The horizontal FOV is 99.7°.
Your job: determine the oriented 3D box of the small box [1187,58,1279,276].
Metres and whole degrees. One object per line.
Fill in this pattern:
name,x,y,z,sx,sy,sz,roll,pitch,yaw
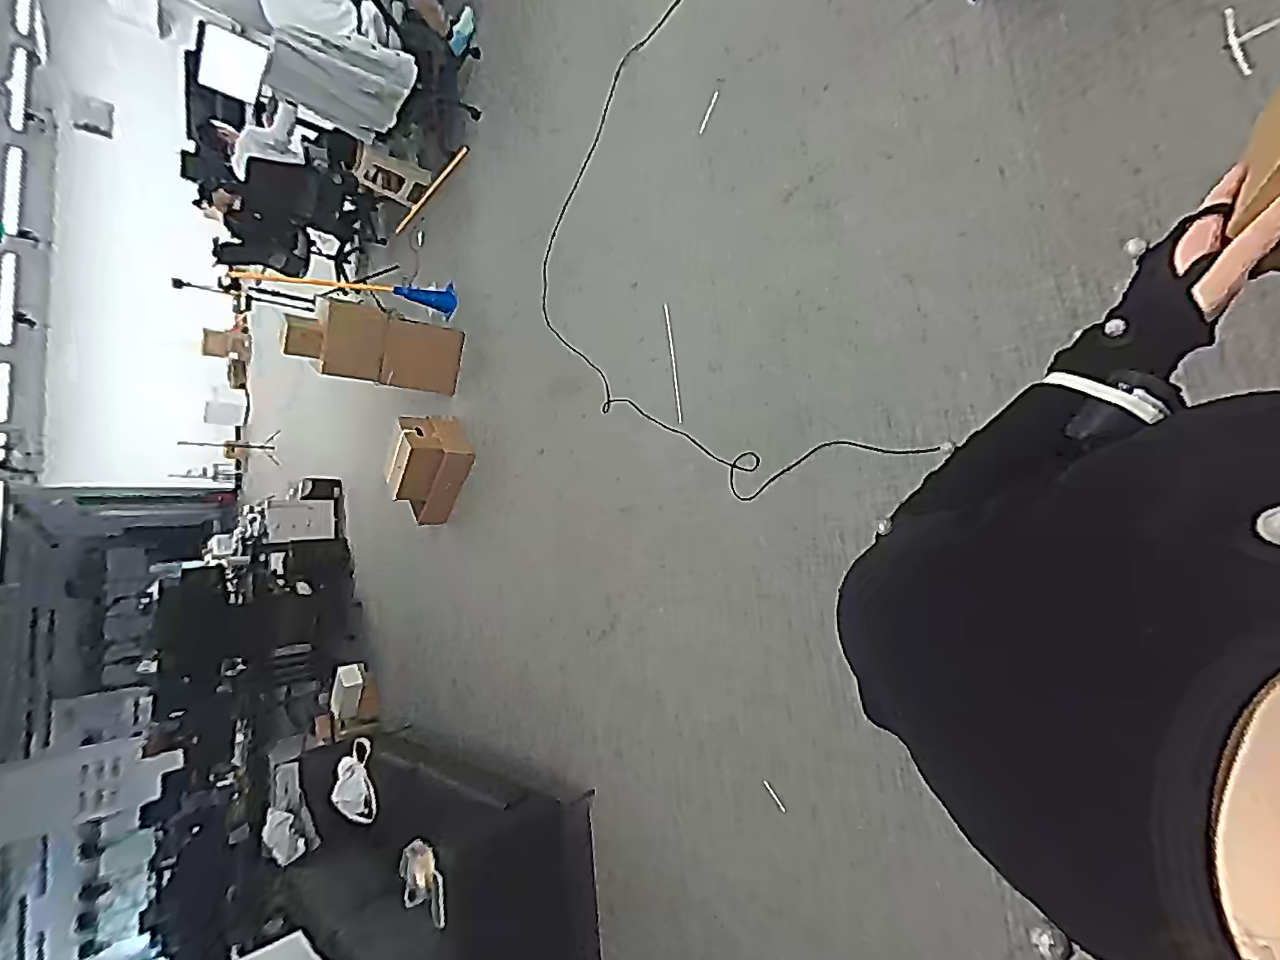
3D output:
small box,0.509,-0.238,0.328,0.179,0.168,0.176,26,73,28
